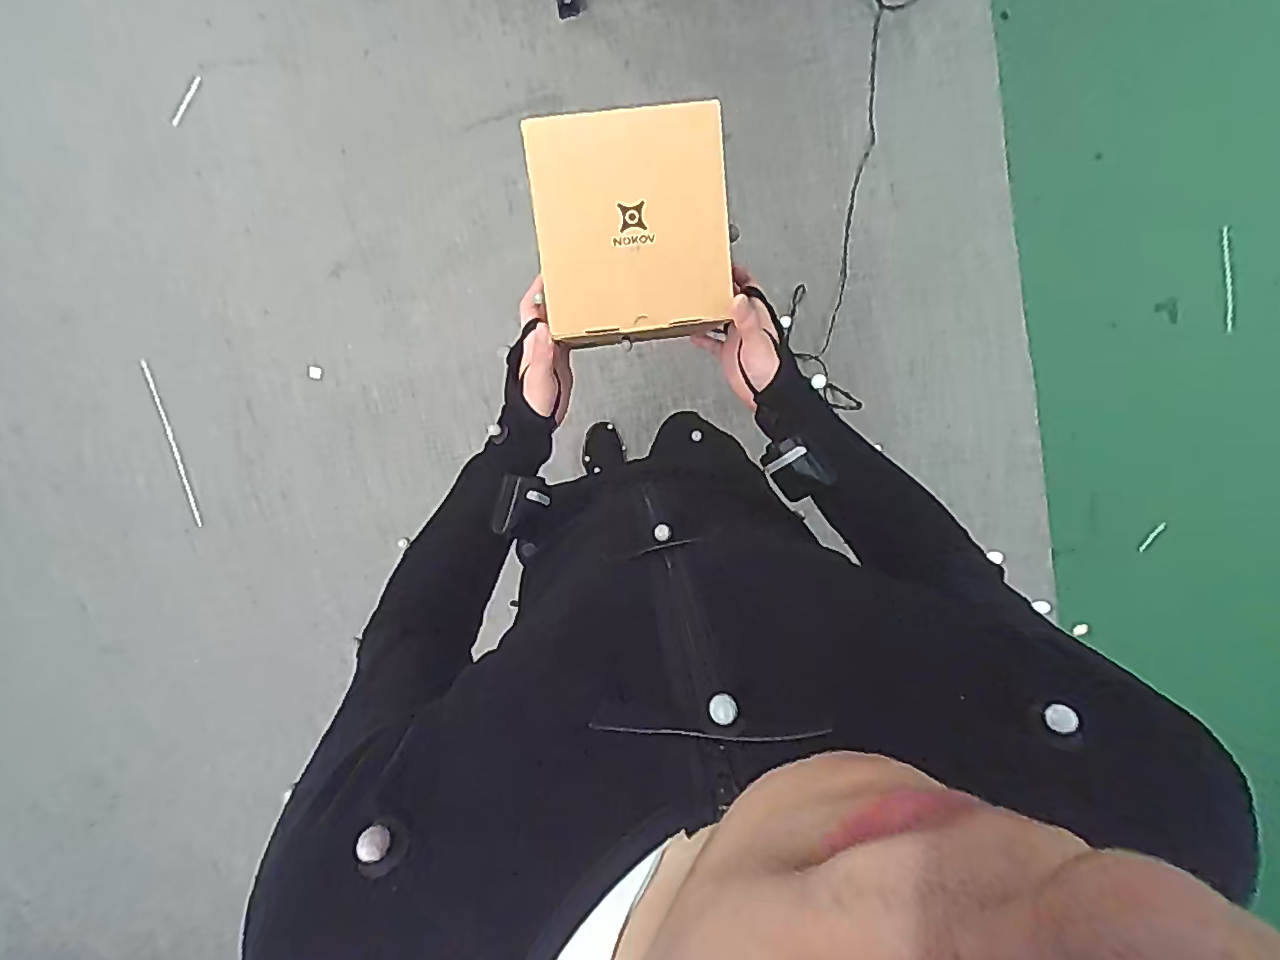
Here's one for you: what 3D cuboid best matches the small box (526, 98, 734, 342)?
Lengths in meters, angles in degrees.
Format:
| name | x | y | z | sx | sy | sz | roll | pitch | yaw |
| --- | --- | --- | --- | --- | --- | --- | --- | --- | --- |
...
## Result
| name | x | y | z | sx | sy | sz | roll | pitch | yaw |
| --- | --- | --- | --- | --- | --- | --- | --- | --- | --- |
| small box | -0.010 | -0.237 | 0.535 | 0.168 | 0.176 | 0.179 | -6 | 103 | -1 |
